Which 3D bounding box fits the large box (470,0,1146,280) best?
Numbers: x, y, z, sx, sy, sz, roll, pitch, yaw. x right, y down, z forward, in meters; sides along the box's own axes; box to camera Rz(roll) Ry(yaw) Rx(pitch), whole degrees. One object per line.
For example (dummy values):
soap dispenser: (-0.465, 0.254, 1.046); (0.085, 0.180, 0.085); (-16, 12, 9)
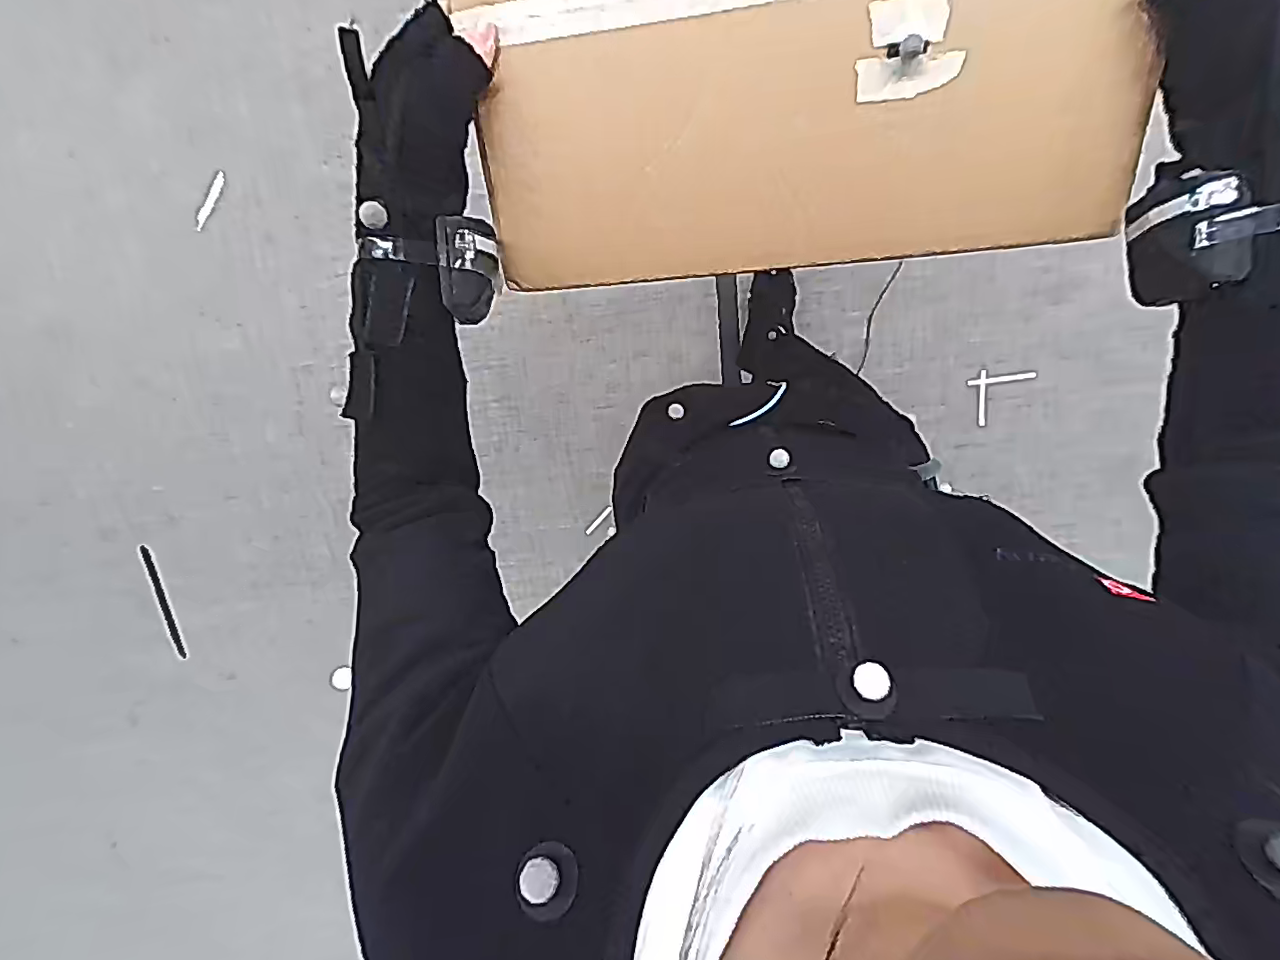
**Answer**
large box: (0.104, -0.364, 0.454); (0.408, 0.320, 0.320); (-2, 115, 9)
